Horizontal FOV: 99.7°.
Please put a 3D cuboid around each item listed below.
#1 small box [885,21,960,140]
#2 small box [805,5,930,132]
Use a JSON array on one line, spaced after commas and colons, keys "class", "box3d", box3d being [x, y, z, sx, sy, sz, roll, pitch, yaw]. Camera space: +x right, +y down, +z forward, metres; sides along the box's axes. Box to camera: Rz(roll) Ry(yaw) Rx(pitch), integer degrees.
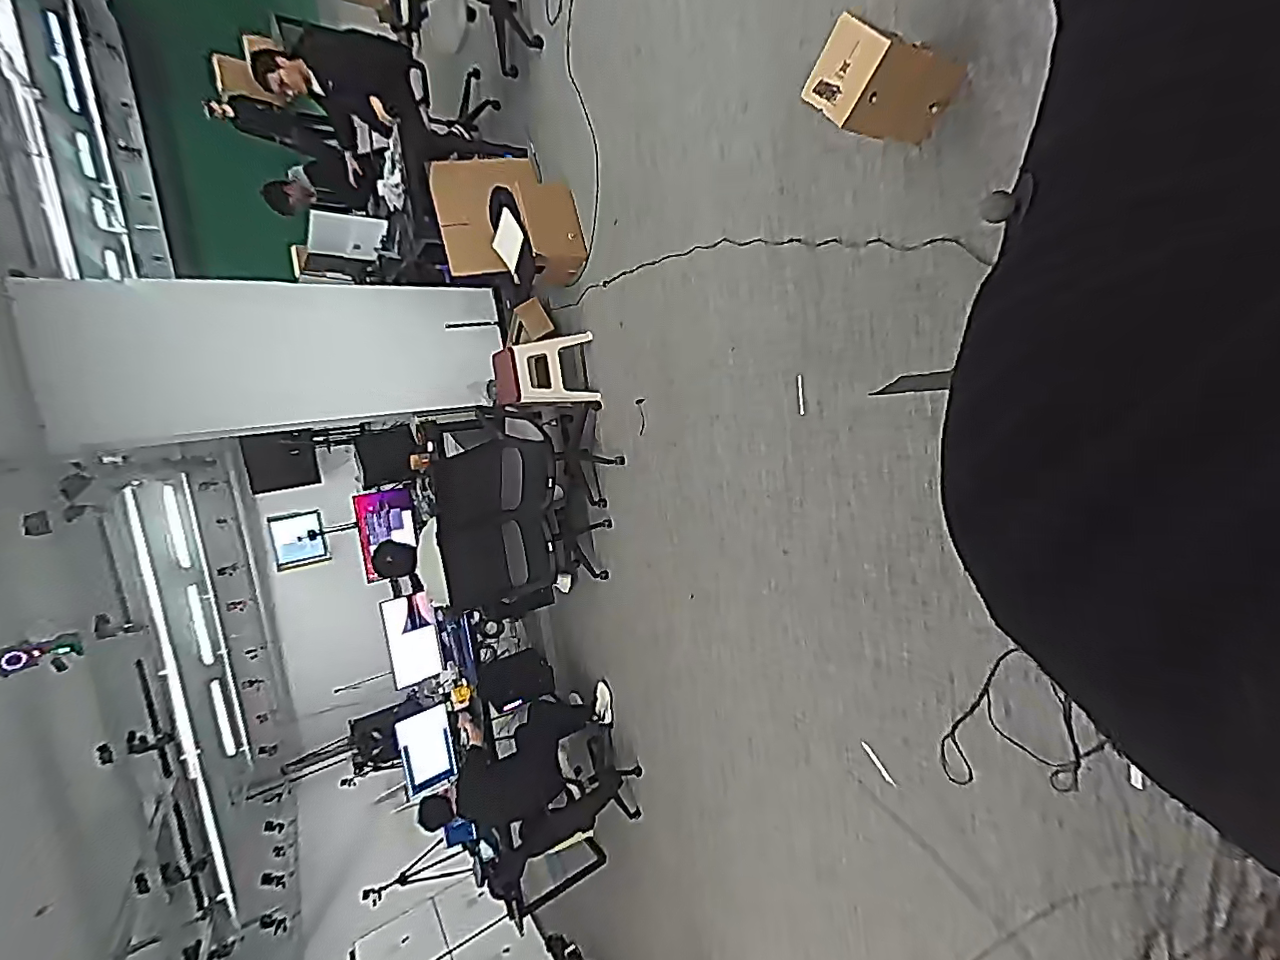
[{"class": "small box", "box3d": [0.666, -0.998, 1.362, 0.168, 0.176, 0.179, 59, 142, 27]}, {"class": "small box", "box3d": [0.533, -0.956, 1.270, 0.168, 0.176, 0.179, 60, 143, 25]}]
